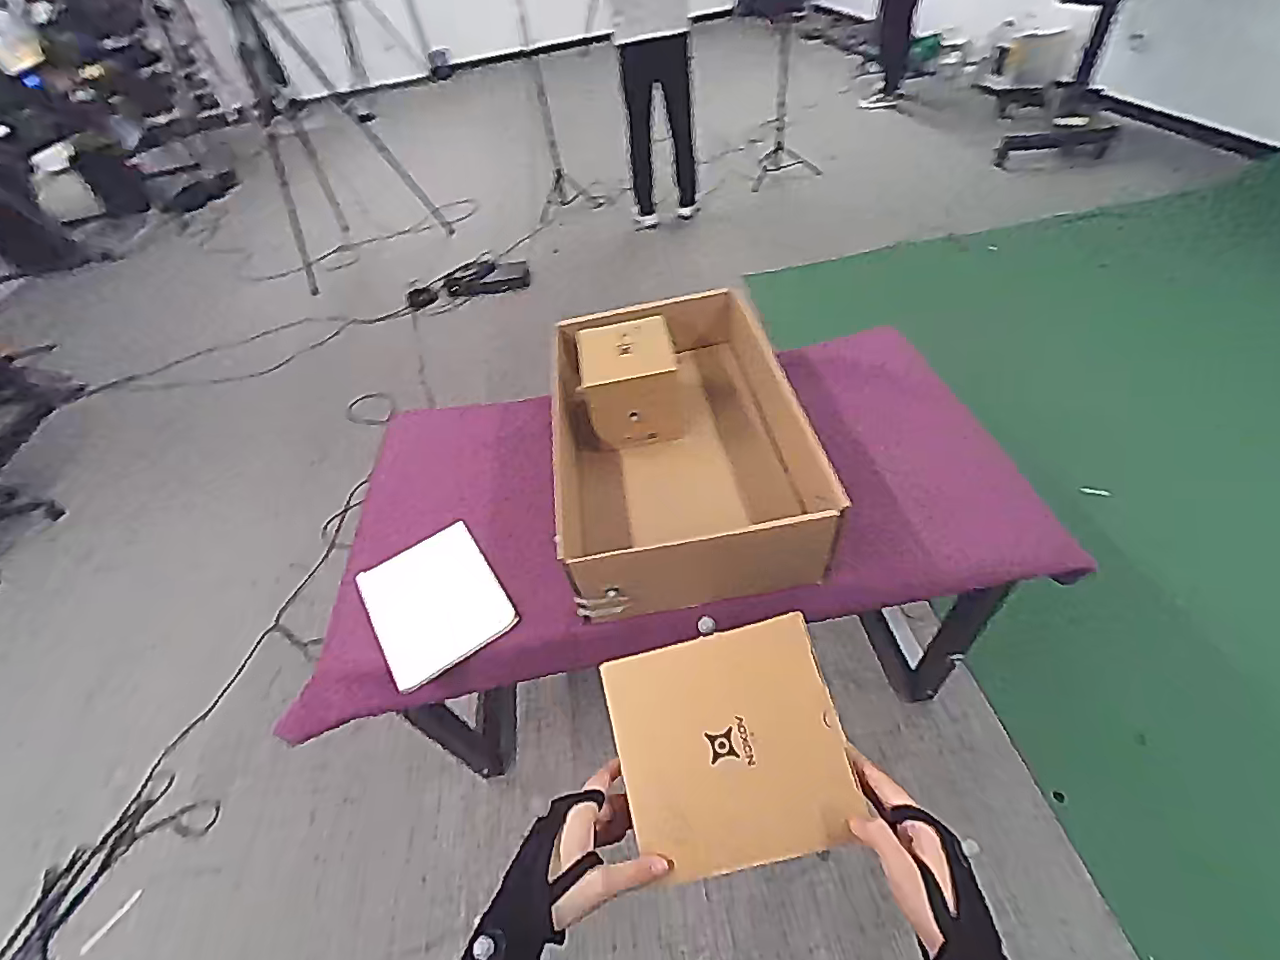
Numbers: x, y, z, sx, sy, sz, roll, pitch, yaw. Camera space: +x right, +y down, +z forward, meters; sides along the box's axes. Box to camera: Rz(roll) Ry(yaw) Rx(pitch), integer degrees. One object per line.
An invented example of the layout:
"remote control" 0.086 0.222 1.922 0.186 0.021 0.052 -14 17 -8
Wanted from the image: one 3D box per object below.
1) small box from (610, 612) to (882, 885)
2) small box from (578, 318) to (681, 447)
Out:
"small box" 0.088 0.229 0.493 0.179 0.176 0.168 -16 70 4
"small box" -0.018 -0.180 1.040 0.168 0.176 0.179 -11 48 1
